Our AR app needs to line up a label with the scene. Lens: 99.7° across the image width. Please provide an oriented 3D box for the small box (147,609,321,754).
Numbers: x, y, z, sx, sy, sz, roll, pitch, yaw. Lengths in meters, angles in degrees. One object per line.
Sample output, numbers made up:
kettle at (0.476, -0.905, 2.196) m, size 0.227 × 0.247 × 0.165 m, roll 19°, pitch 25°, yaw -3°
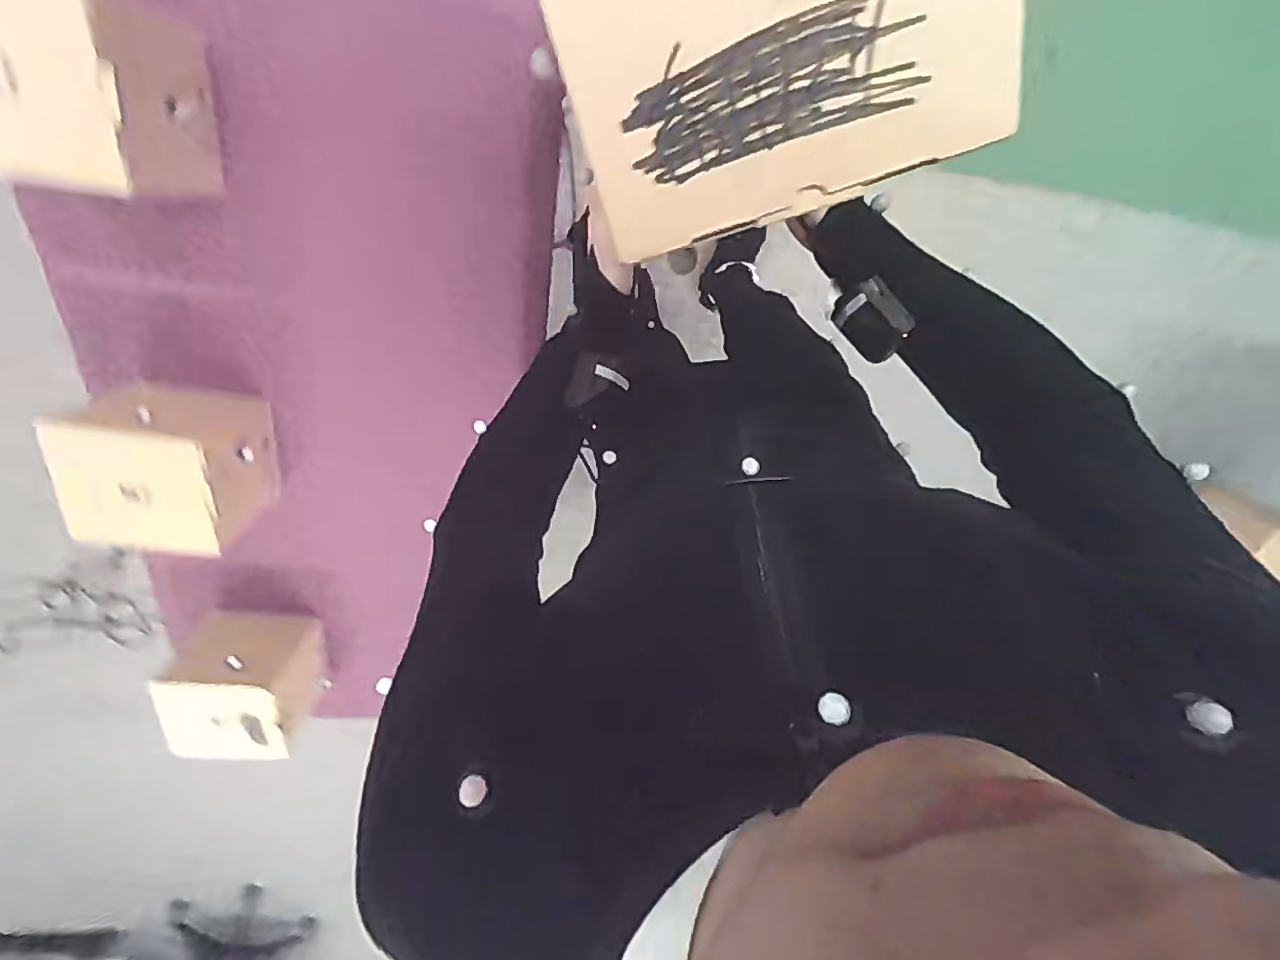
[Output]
small box at (-0.671, 0.339, 0.926) m, size 0.179 × 0.176 × 0.168 m, roll 6°, pitch 116°, yaw -7°

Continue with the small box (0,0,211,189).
small box at (-0.578, -0.404, 0.548) m, size 0.179 × 0.176 × 0.168 m, roll 5°, pitch 117°, yaw -11°

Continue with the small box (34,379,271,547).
small box at (-0.637, -0.029, 0.741) m, size 0.179 × 0.176 × 0.168 m, roll 8°, pitch 116°, yaw -9°
